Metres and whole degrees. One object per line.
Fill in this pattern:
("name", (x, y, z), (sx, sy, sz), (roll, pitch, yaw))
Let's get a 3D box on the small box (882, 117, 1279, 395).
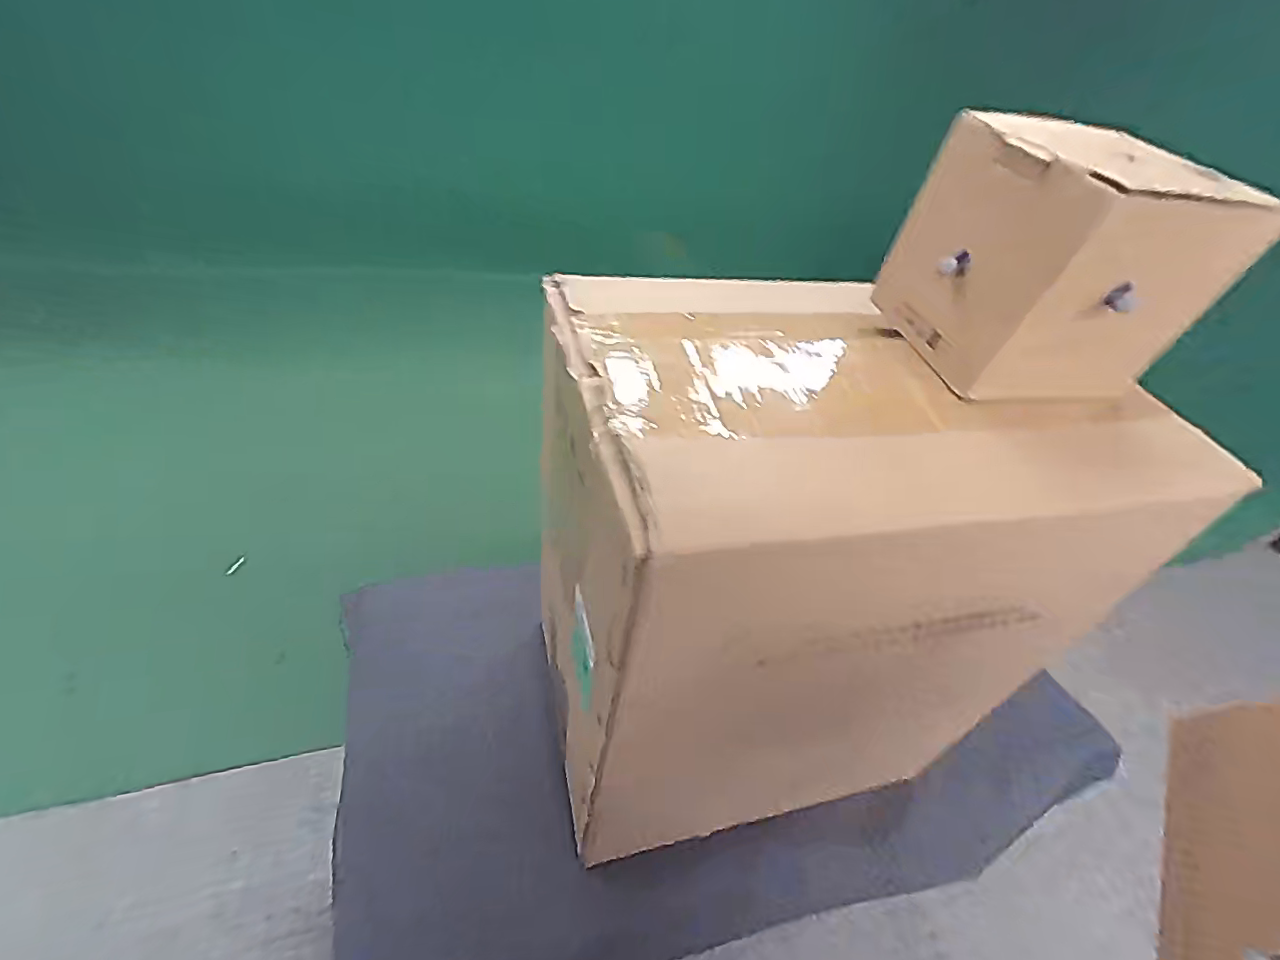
("small box", (0.340, -0.186, 0.465), (0.179, 0.176, 0.168), (-4, 49, -15))
